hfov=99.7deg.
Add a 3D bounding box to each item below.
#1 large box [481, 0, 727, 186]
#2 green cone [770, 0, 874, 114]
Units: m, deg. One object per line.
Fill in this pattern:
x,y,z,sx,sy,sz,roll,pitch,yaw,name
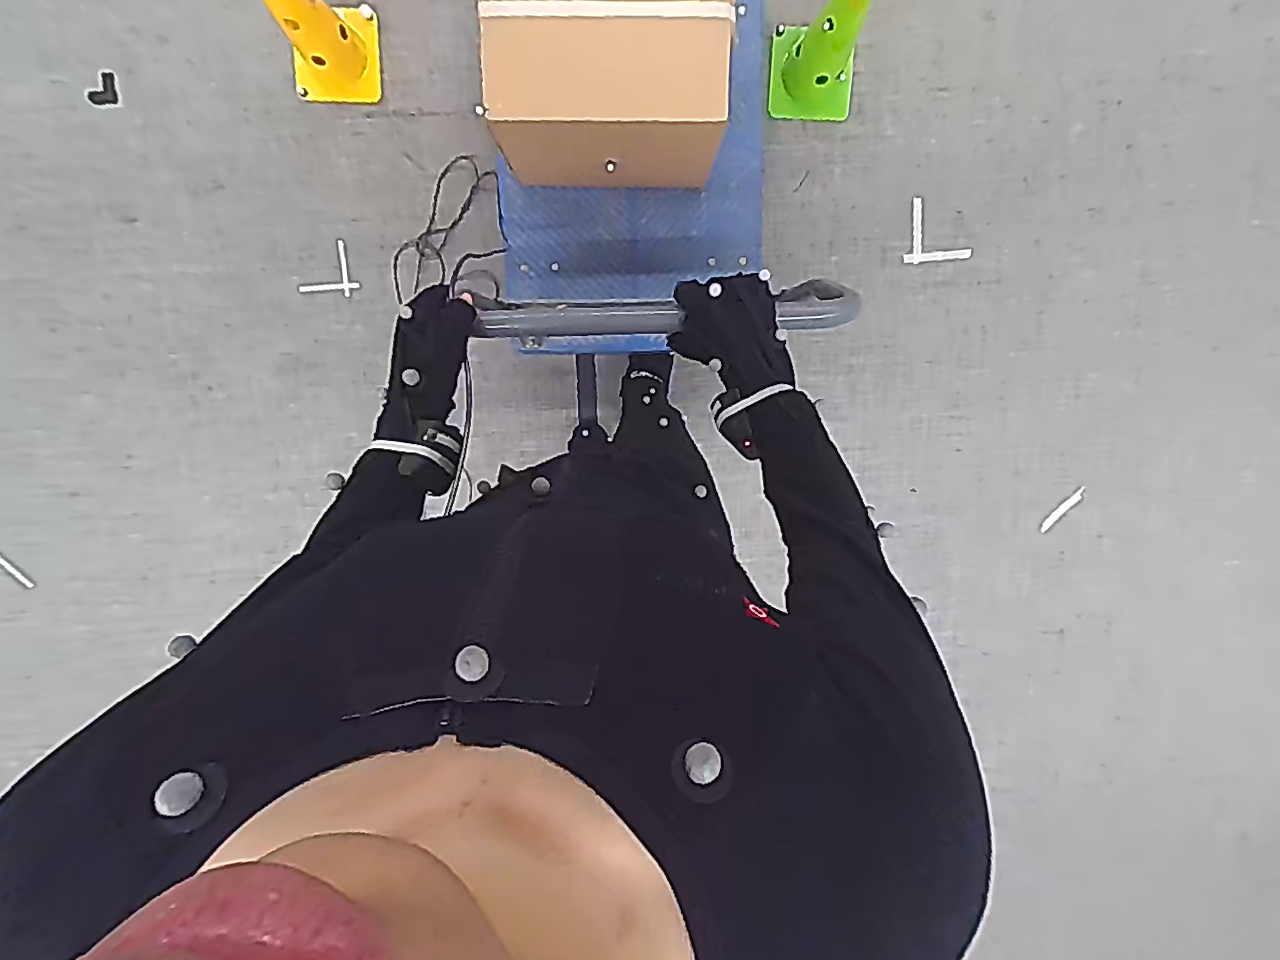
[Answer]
-0.056,-0.769,1.017,0.408,0.320,0.320,0,100,0,large box
0.422,-0.966,1.134,0.202,0.368,0.200,1,100,-2,green cone
